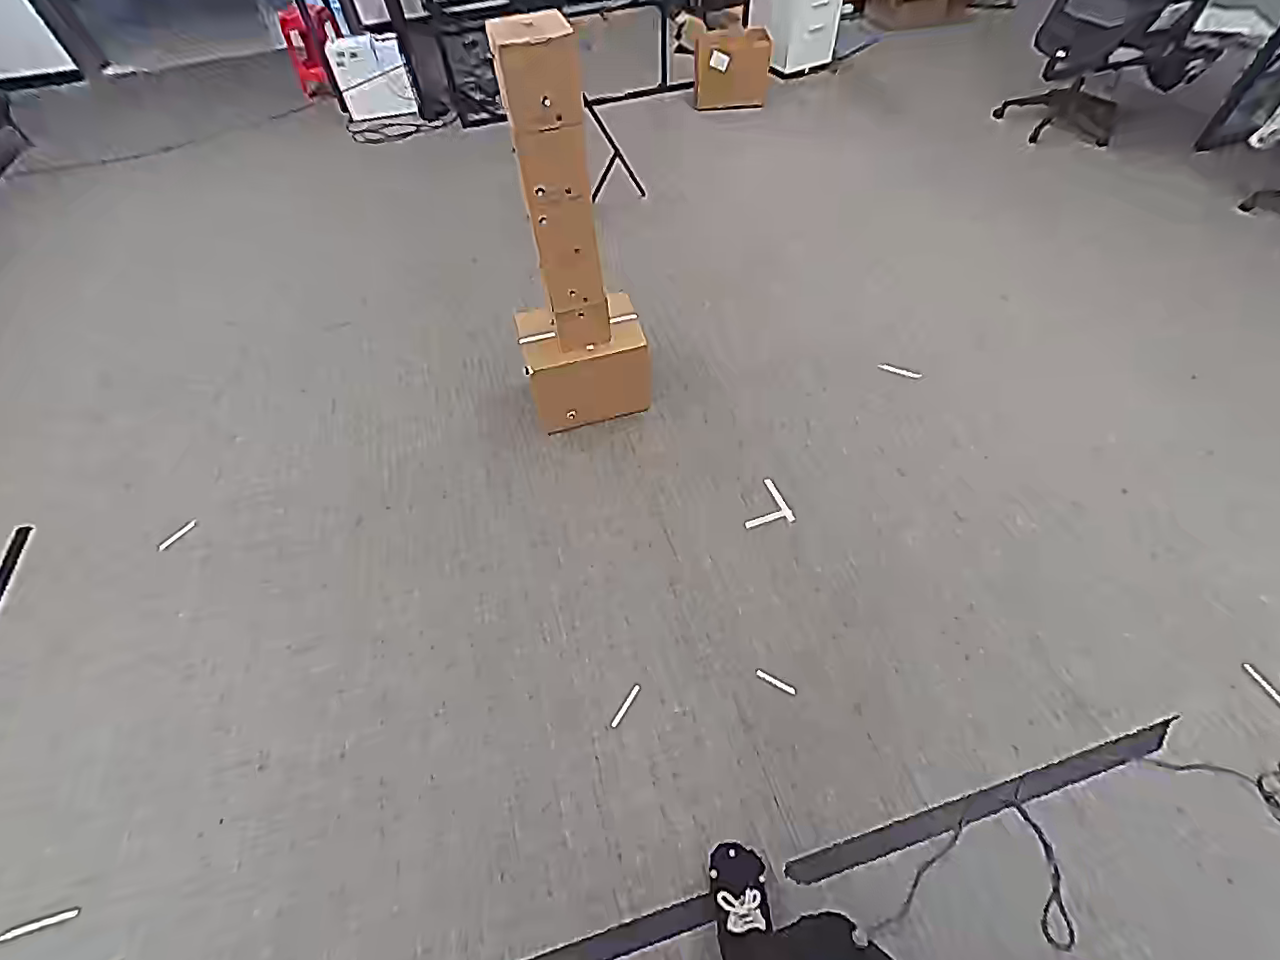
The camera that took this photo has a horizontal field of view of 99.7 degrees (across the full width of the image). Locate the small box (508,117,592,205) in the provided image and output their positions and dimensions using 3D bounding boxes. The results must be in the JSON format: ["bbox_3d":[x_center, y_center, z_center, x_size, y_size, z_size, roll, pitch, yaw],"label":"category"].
[{"bbox_3d":[-0.223,-0.814,1.358,0.168,0.176,0.179,-14,55,-7],"label":"small box"}]

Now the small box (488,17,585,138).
[{"bbox_3d":[-0.230,-0.907,1.222,0.168,0.176,0.179,-17,56,-8],"label":"small box"}]

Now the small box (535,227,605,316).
[{"bbox_3d":[-0.209,-0.626,1.626,0.168,0.176,0.179,-16,56,-8],"label":"small box"}]

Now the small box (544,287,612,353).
[{"bbox_3d":[-0.199,-0.538,1.763,0.179,0.176,0.168,-16,56,-9],"label":"small box"}]
